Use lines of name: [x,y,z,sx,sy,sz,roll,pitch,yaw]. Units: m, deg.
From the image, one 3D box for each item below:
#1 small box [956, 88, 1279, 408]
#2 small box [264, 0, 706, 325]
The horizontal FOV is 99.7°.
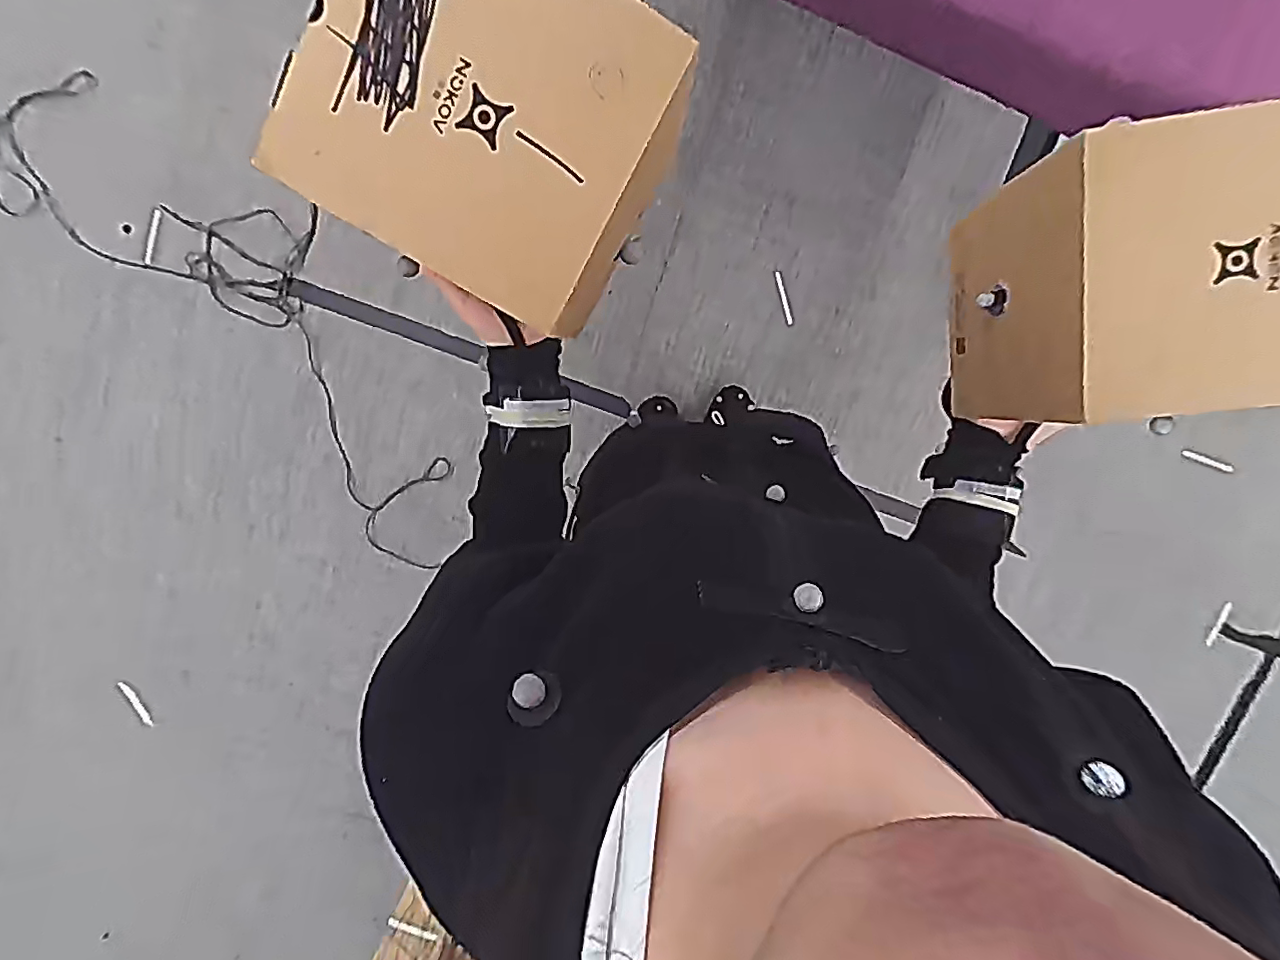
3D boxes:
small box: [0.346,-0.139,0.380,0.179,0.176,0.168,-5,98,6]
small box: [-0.082,-0.212,0.351,0.179,0.176,0.168,28,103,-9]
